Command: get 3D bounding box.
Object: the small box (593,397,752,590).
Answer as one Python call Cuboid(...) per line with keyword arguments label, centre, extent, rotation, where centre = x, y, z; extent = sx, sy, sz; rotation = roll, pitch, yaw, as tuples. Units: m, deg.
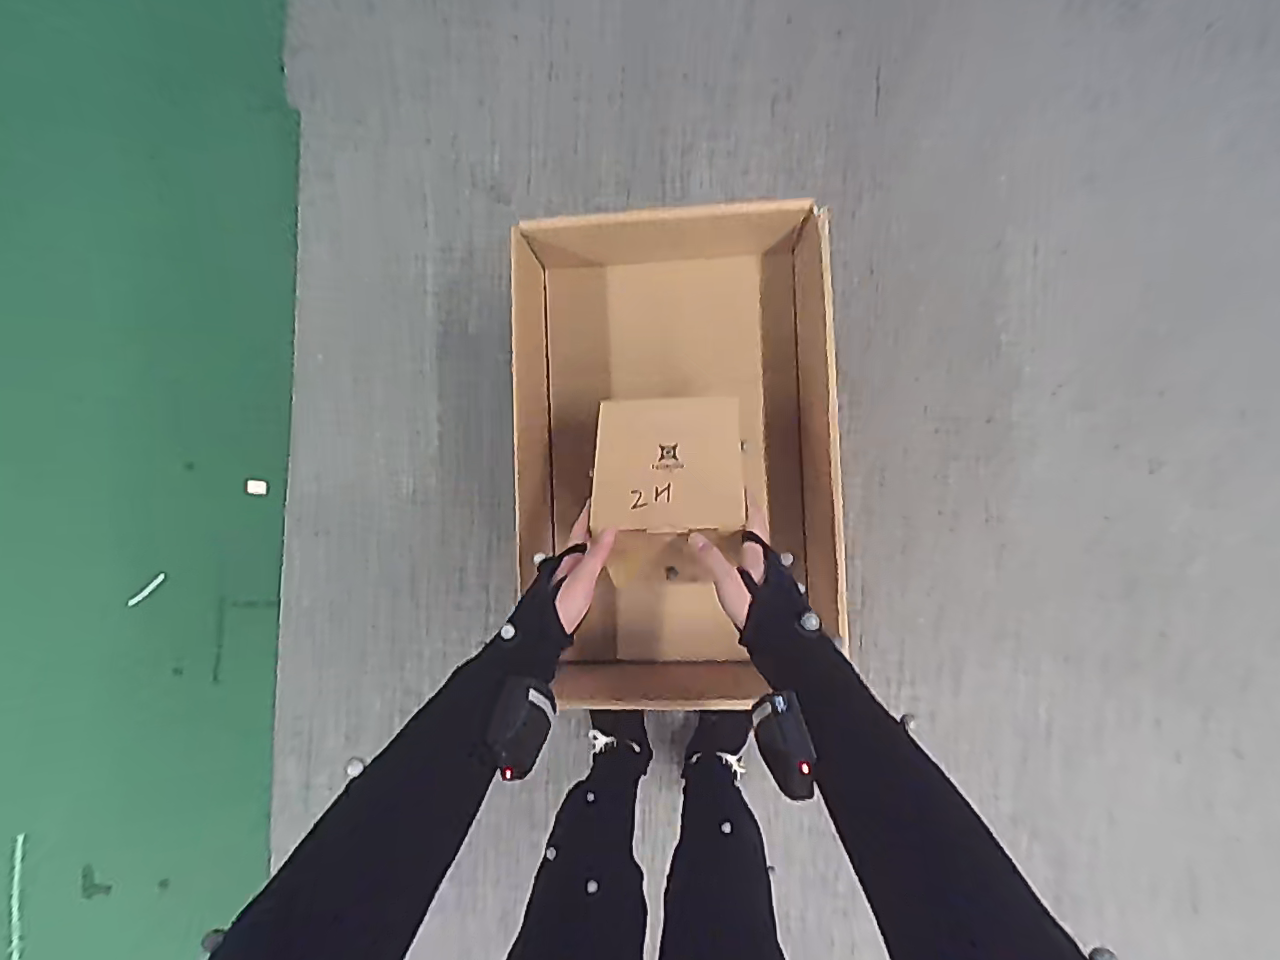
Cuboid(label="small box", centre=(0.044, 0.021, 0.661), extent=(0.168, 0.176, 0.179), rotation=(-2, 57, 7))
